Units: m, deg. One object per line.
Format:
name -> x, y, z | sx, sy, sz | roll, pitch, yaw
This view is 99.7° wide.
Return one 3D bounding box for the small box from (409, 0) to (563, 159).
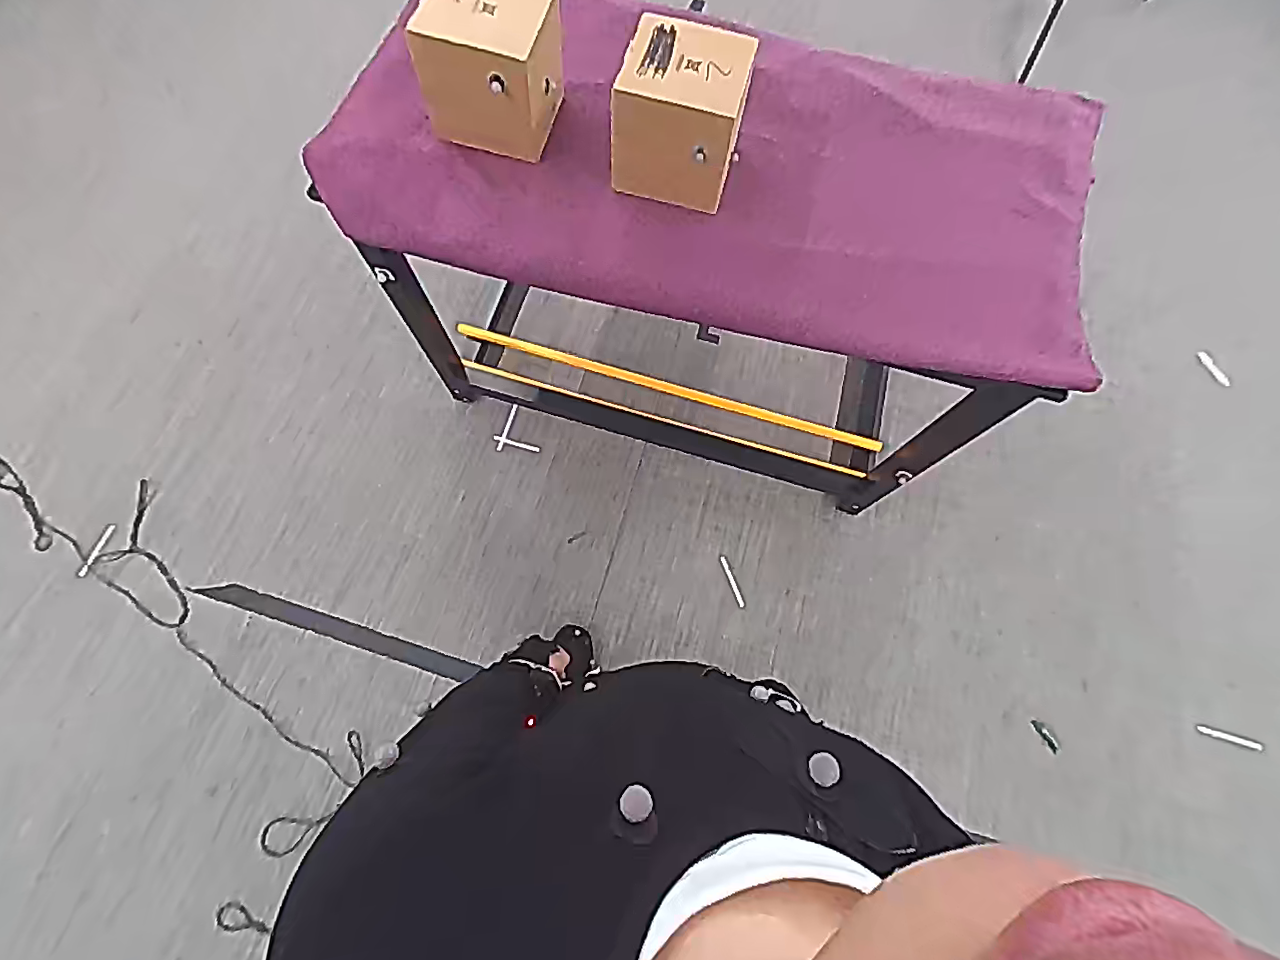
small box -> -0.224, -0.644, 0.846 | 0.179, 0.176, 0.168 | 14, 71, 0
